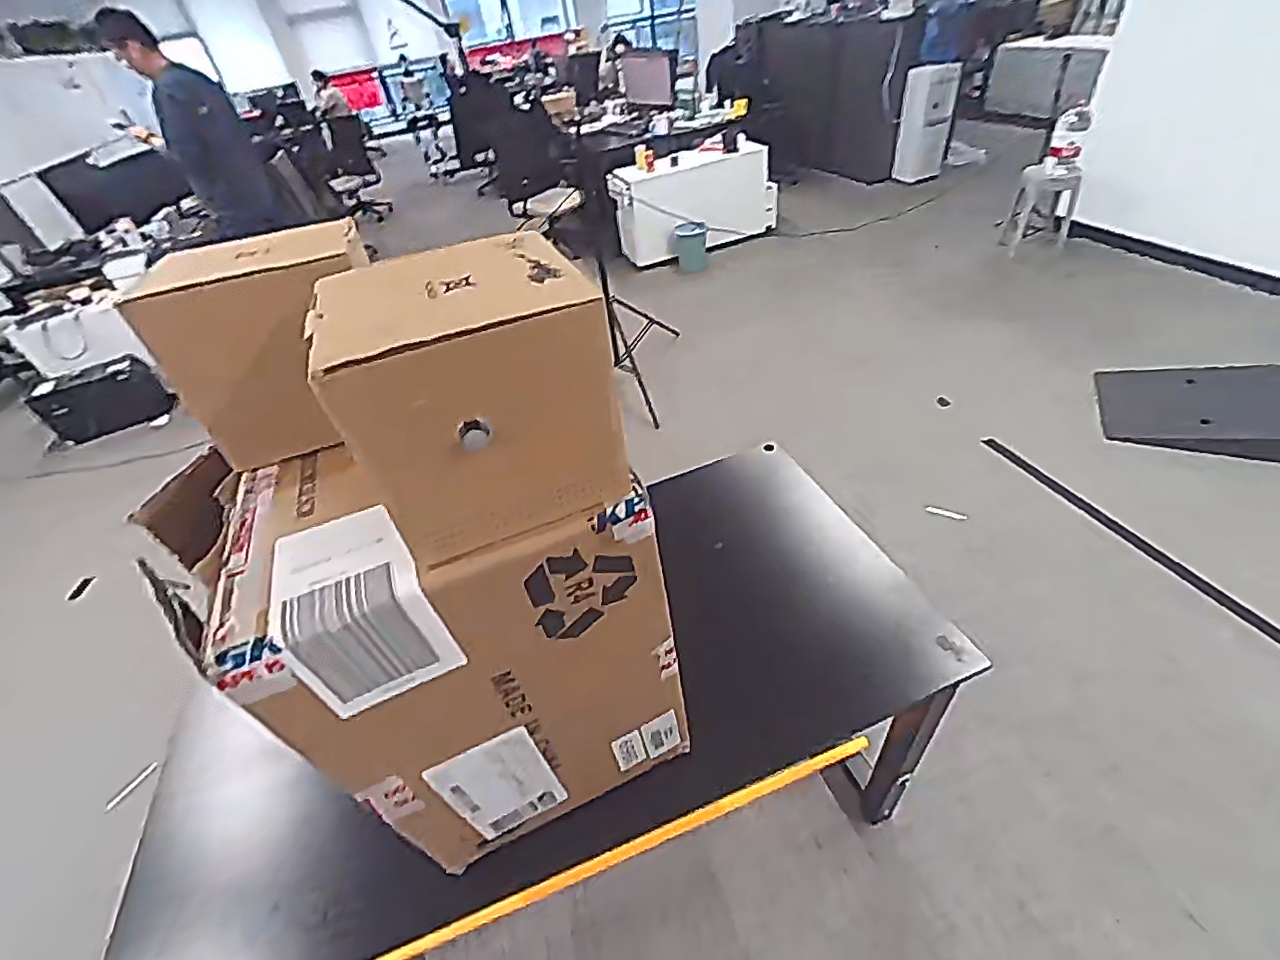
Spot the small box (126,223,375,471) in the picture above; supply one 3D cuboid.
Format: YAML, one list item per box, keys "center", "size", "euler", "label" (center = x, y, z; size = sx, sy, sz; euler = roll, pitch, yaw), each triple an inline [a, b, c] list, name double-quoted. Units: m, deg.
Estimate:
- center: [-0.340, -0.138, 0.547]
  size: [0.179, 0.176, 0.168]
  euler: [-21, 39, -13]
  label: "small box"

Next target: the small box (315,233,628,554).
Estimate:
- center: [-0.125, -0.070, 0.431]
  size: [0.179, 0.176, 0.168]
  euler: [-21, 45, -13]
  label: "small box"
